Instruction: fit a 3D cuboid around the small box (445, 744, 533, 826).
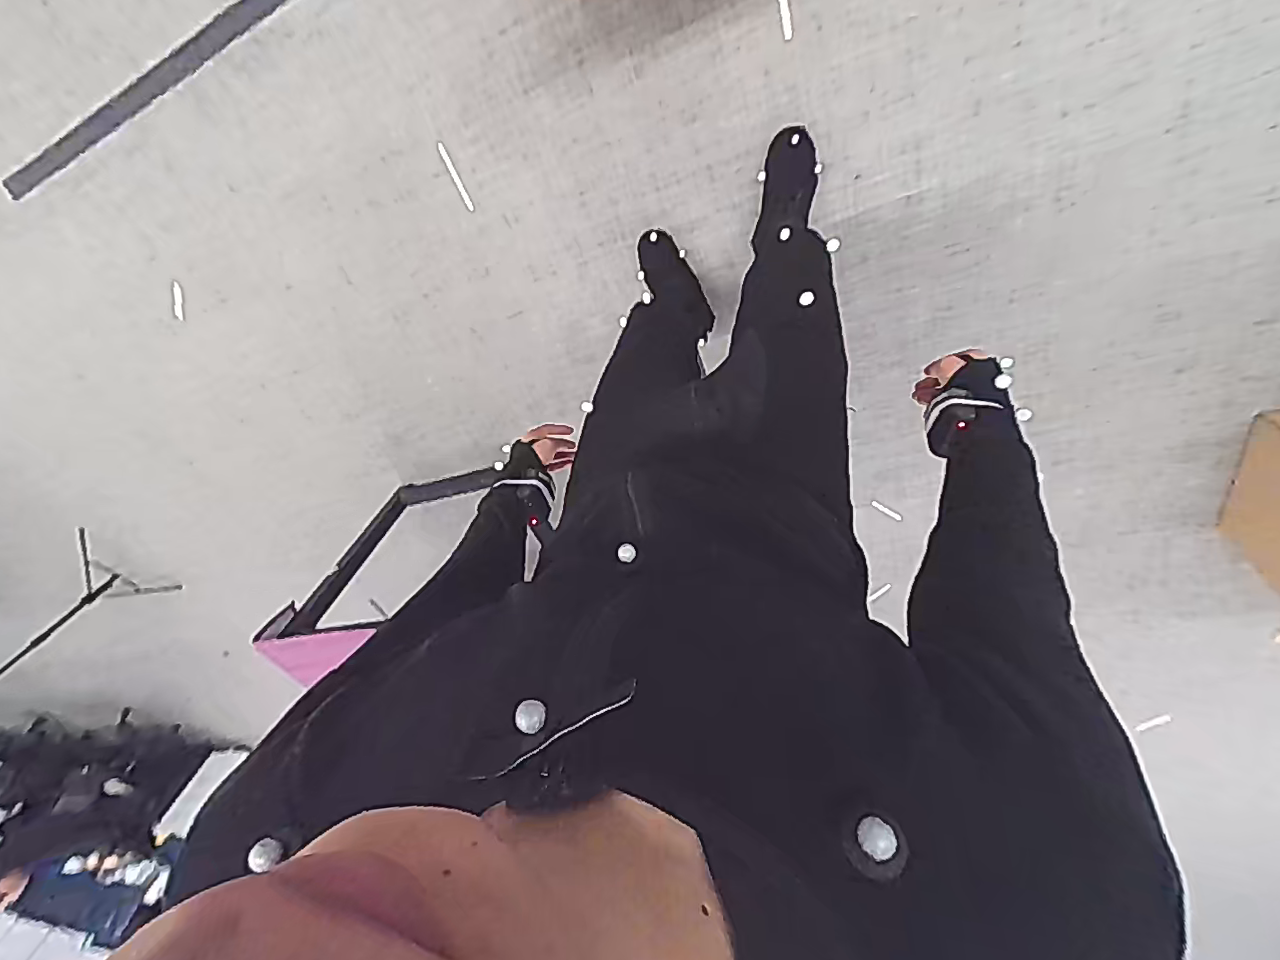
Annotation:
[{"bbox_3d":[-0.436,0.903,1.610,0.179,0.176,0.168,-8,126,19],"label":"small box"}]
